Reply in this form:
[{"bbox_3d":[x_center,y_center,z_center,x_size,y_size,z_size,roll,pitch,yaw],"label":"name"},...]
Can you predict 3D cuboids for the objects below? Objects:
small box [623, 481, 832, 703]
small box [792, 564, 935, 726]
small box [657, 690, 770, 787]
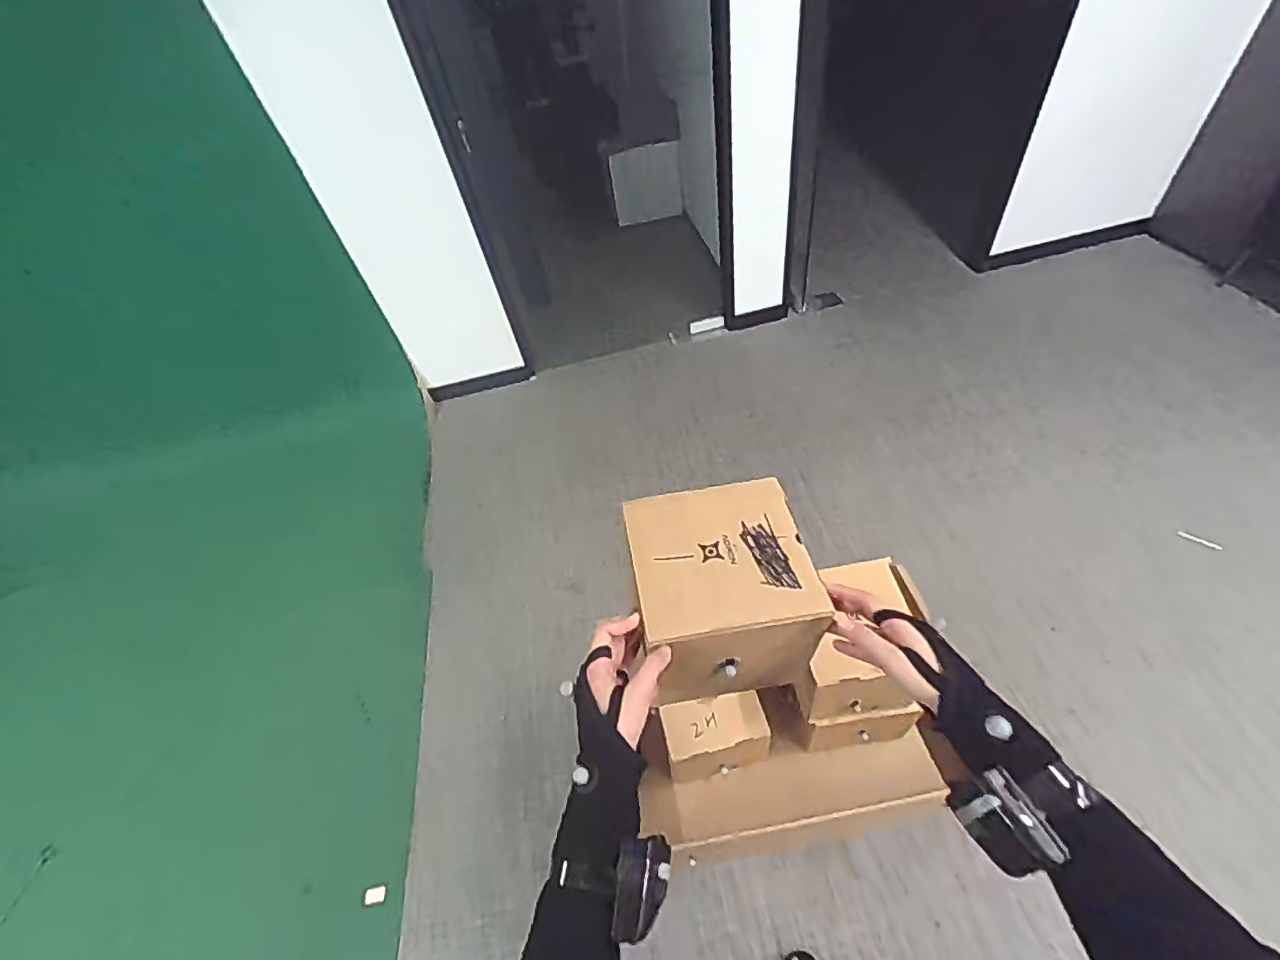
[{"bbox_3d":[0.079,0.124,0.589,0.179,0.176,0.168,-8,48,-4],"label":"small box"},{"bbox_3d":[0.322,0.260,0.847,0.168,0.176,0.179,-10,48,3],"label":"small box"},{"bbox_3d":[0.119,0.417,0.964,0.168,0.176,0.179,-14,49,-2],"label":"small box"}]
